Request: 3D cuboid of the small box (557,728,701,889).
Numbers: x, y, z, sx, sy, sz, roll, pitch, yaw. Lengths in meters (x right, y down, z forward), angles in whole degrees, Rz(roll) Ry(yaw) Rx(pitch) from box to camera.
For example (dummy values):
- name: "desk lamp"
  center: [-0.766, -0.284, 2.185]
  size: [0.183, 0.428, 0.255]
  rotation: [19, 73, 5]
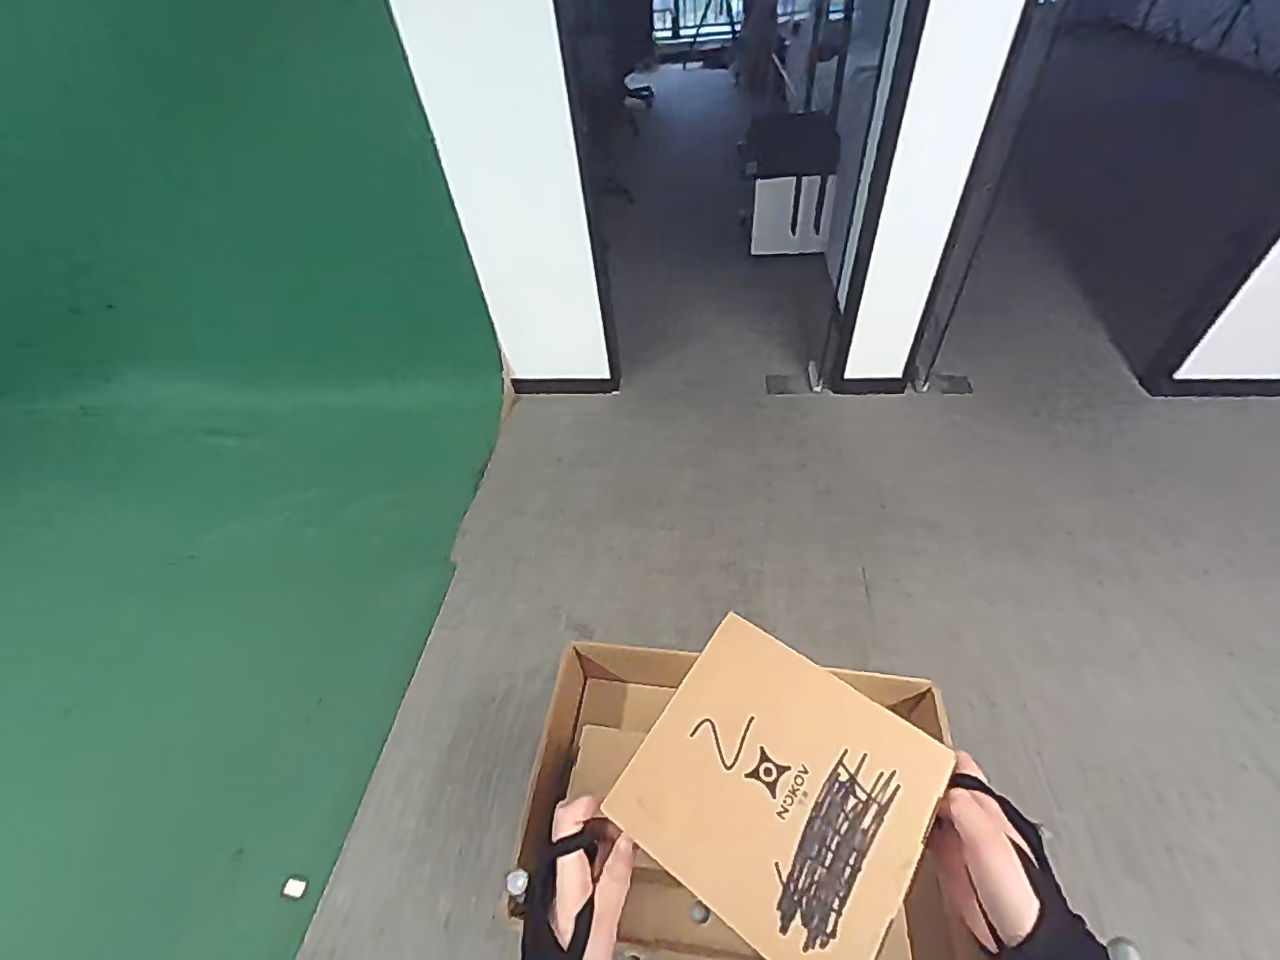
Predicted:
- name: "small box"
  center: [-0.005, 0.498, 0.818]
  size: [0.179, 0.176, 0.168]
  rotation: [3, 48, 11]
